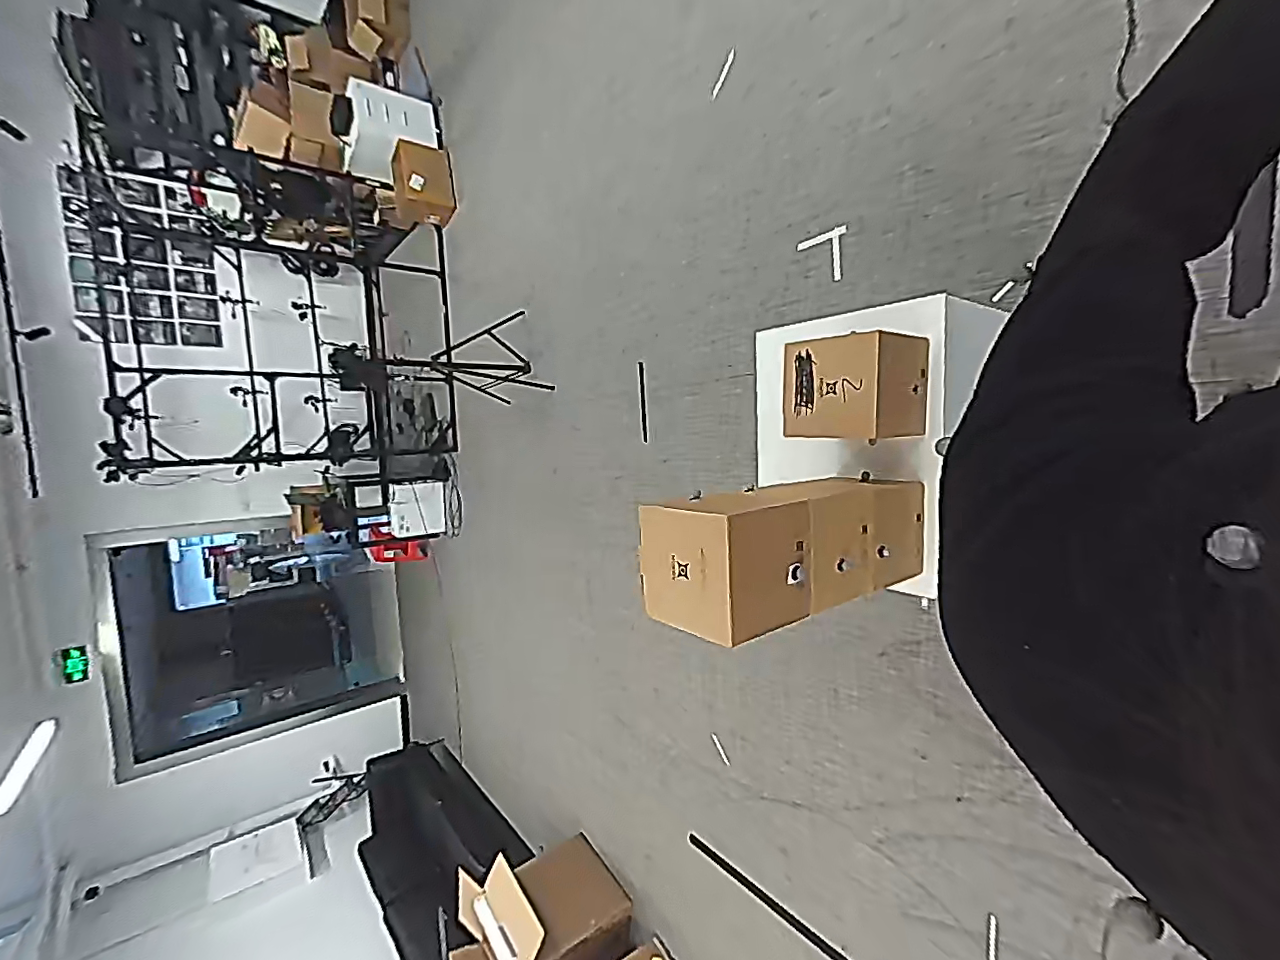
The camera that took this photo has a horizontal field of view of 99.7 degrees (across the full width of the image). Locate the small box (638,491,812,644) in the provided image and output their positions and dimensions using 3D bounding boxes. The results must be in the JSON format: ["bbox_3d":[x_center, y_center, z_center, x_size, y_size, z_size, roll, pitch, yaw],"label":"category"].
[{"bbox_3d":[0.117,0.108,0.756,0.179,0.176,0.168,3,98,52],"label":"small box"}]

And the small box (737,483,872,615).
[{"bbox_3d":[0.247,0.096,0.853,0.179,0.176,0.168,4,98,53],"label":"small box"}]

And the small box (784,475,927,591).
[{"bbox_3d":[0.375,0.082,0.952,0.179,0.176,0.168,6,100,53],"label":"small box"}]
